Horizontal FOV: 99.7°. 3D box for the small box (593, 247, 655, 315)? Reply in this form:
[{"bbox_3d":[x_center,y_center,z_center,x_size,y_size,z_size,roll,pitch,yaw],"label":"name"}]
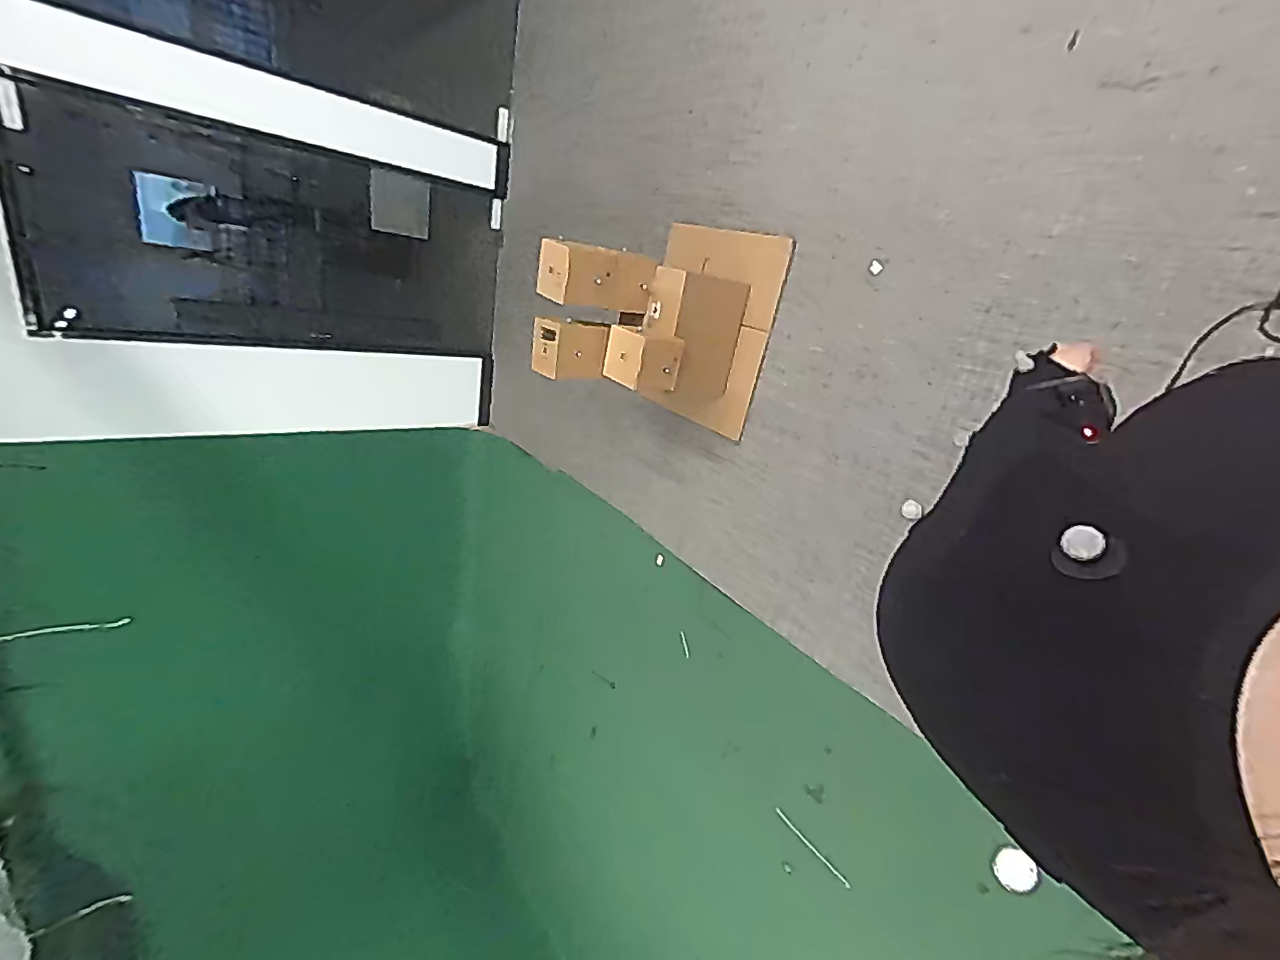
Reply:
[{"bbox_3d":[-0.069,-0.658,1.793,0.168,0.176,0.179,37,125,42],"label":"small box"}]

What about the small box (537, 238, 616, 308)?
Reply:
[{"bbox_3d":[-0.201,-0.643,1.690,0.179,0.176,0.168,38,125,41],"label":"small box"}]
